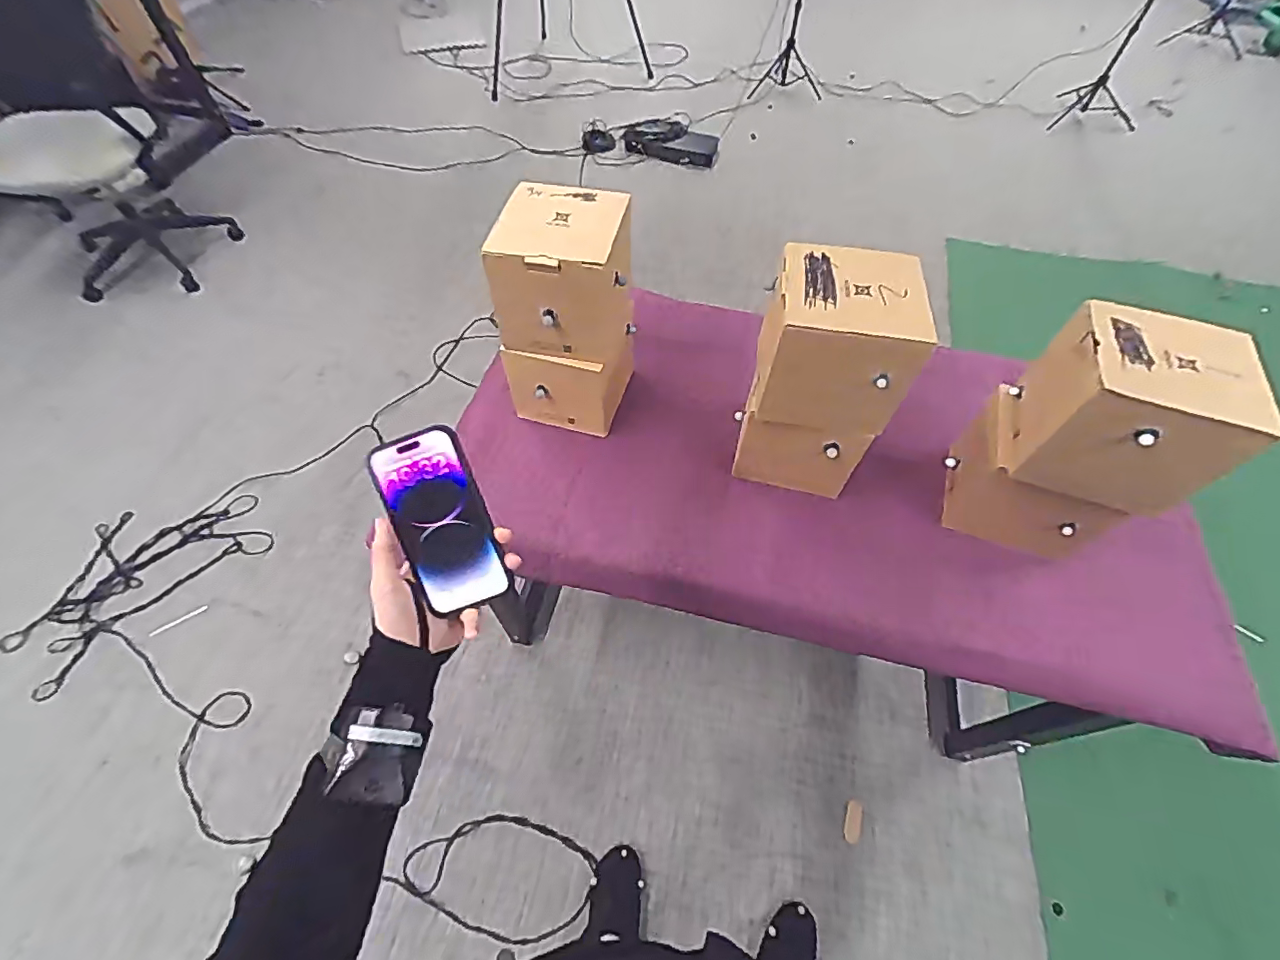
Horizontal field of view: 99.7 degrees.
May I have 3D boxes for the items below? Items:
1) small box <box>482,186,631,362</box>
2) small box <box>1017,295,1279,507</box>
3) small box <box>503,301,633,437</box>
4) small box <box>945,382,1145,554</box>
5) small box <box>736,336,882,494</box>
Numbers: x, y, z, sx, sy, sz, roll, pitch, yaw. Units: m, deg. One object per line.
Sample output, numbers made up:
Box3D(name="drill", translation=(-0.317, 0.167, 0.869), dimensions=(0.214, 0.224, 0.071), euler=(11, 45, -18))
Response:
Box3D(name="small box", translation=(-0.108, -0.297, 0.794), dimensions=(0.168, 0.176, 0.179), euler=(9, 57, 5))
Box3D(name="small box", translation=(0.592, -0.090, 0.656), dimensions=(0.179, 0.176, 0.168), euler=(18, 57, 11))
Box3D(name="small box", translation=(-0.110, -0.197, 0.925), dimensions=(0.168, 0.176, 0.179), euler=(13, 57, 9))
Box3D(name="small box", translation=(0.587, -0.012, 0.800), dimensions=(0.179, 0.176, 0.168), euler=(18, 57, 12))
Box3D(name="small box", translation=(0.262, -0.097, 0.856), dimensions=(0.179, 0.176, 0.168), euler=(13, 56, 9))
